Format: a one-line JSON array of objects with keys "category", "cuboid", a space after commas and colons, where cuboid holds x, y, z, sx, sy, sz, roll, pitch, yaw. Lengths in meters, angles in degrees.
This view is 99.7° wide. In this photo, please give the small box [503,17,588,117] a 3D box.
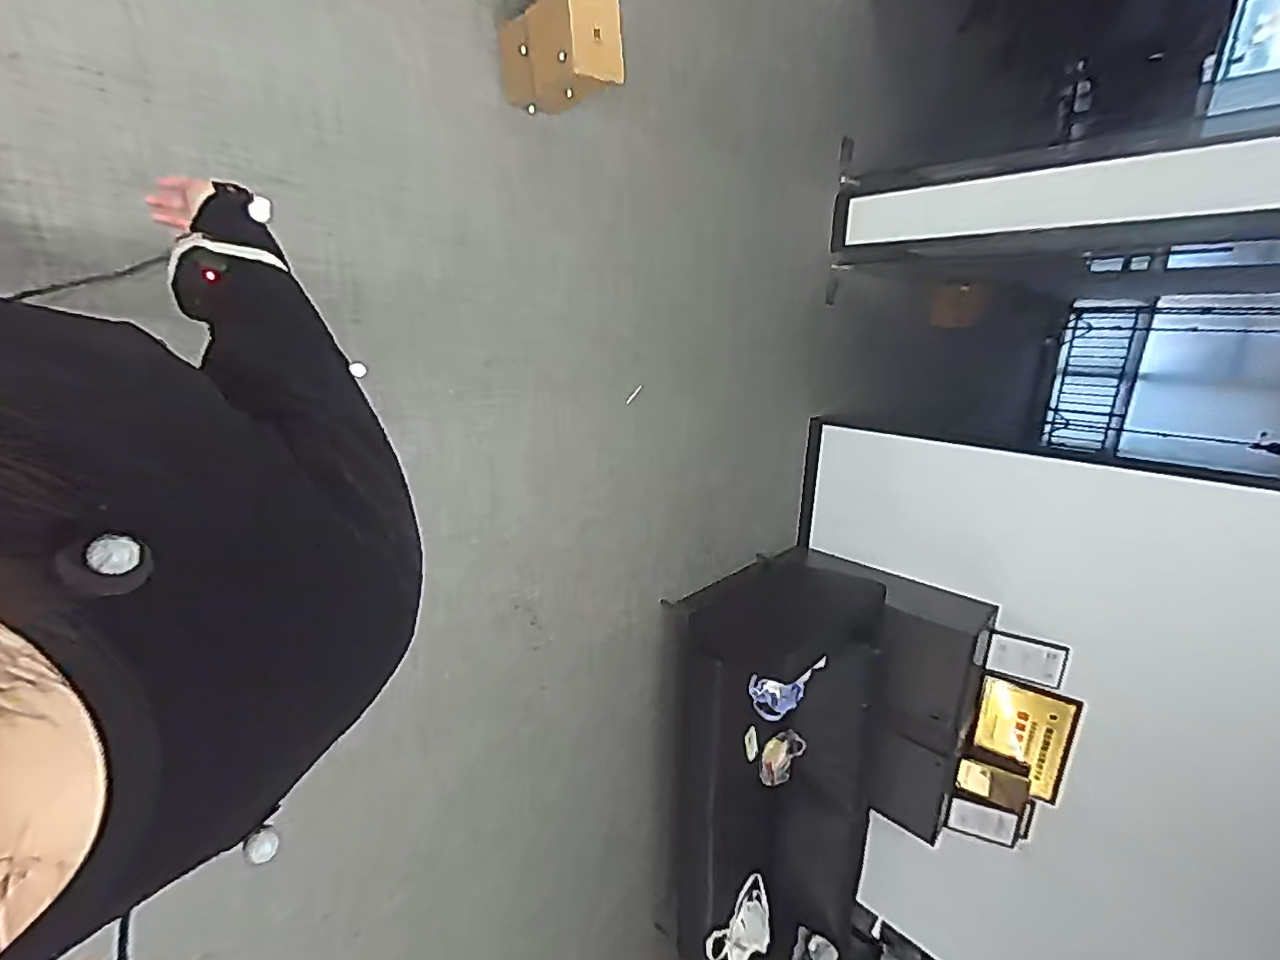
[{"category": "small box", "cuboid": [-0.262, -1.132, 1.483, 0.168, 0.176, 0.179, -17, 115, -41]}]

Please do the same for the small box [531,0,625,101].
[{"category": "small box", "cuboid": [-0.159, -1.090, 1.363, 0.168, 0.176, 0.179, -24, 119, -39]}]
